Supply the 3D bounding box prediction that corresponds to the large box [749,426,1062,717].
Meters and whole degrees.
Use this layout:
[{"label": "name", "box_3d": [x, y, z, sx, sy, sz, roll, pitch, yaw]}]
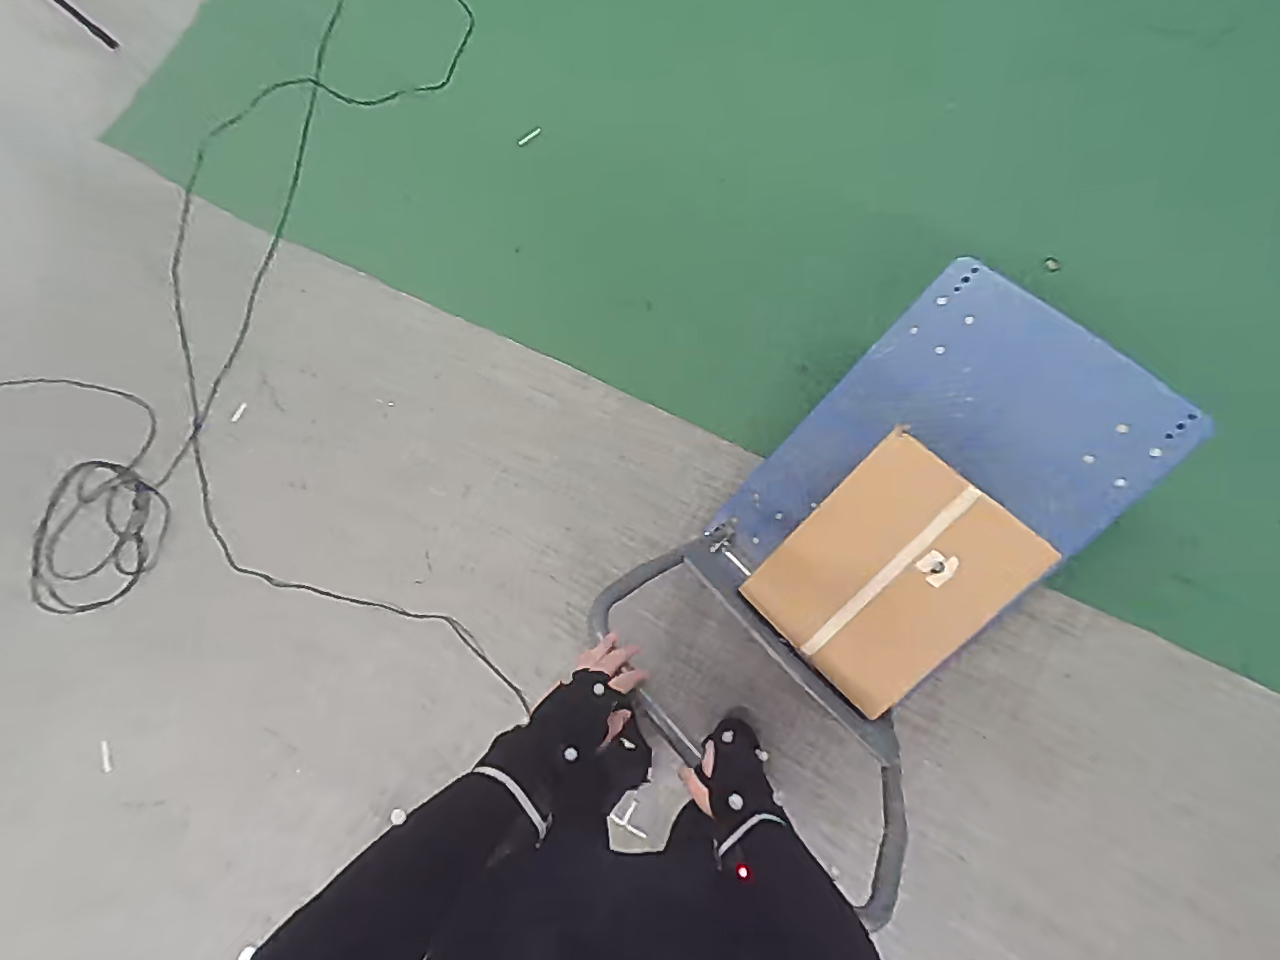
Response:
[{"label": "large box", "box_3d": [0.477, 0.164, 1.052, 0.320, 0.320, 0.408, 45, 103, 16]}]
